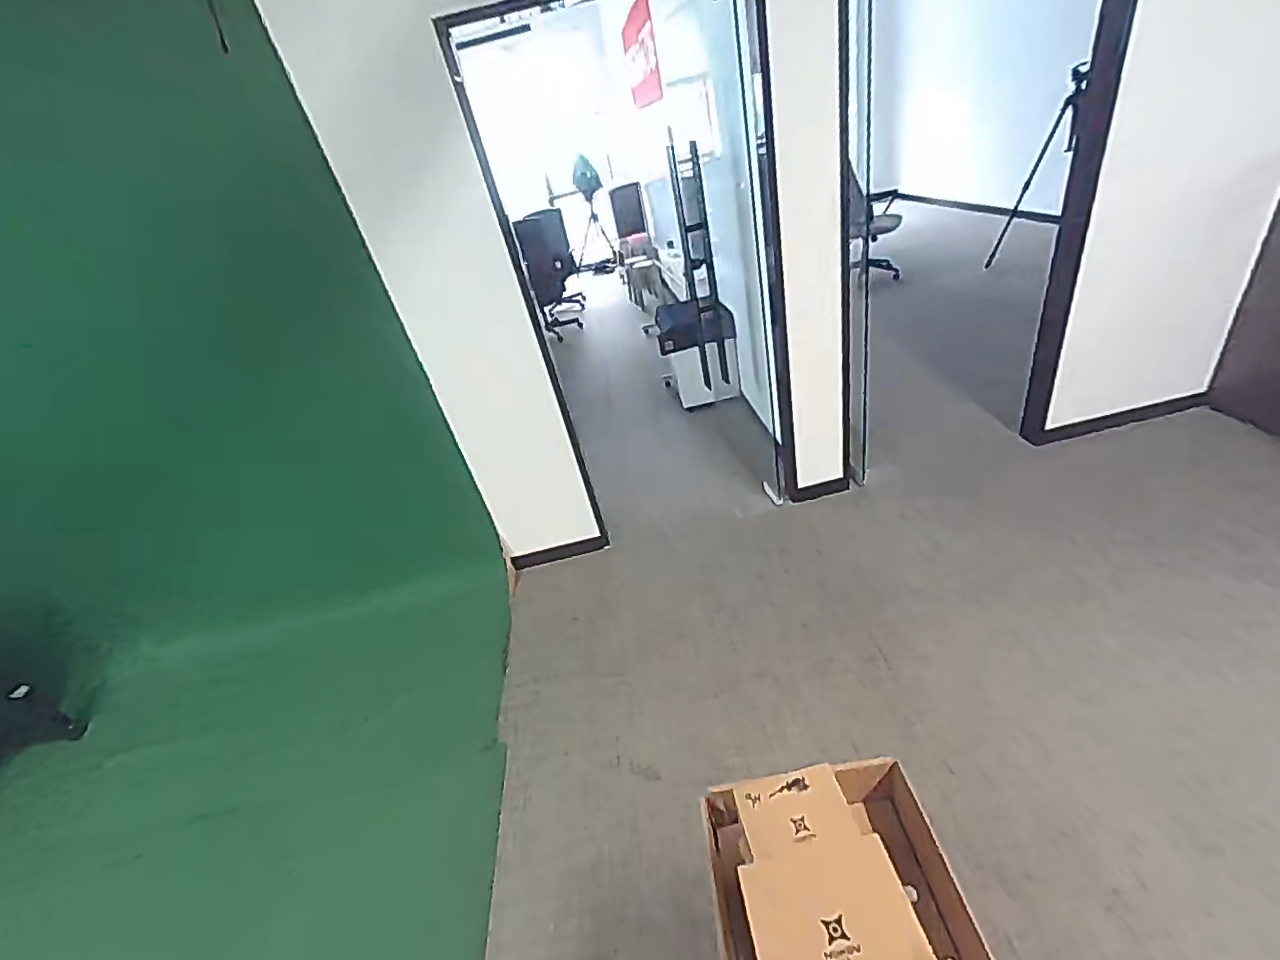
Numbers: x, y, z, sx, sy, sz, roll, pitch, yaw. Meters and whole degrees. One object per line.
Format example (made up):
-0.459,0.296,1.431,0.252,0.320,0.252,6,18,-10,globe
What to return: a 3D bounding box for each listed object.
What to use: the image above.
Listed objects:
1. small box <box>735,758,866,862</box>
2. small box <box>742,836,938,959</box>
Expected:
0.261,0.582,0.852,0.168,0.176,0.179,-14,34,-1,small box
0.217,0.521,0.563,0.168,0.176,0.179,-16,26,3,small box
